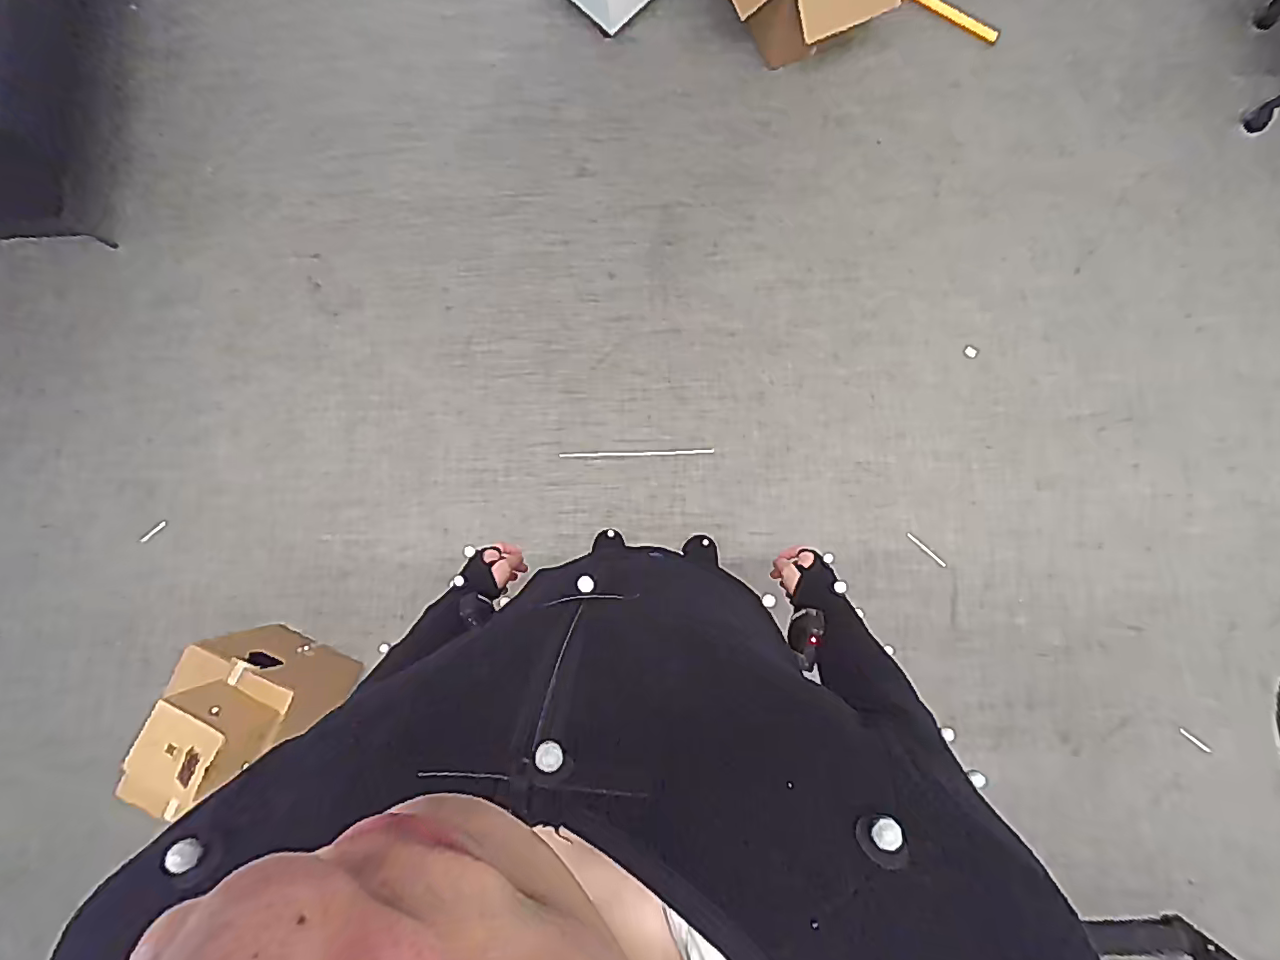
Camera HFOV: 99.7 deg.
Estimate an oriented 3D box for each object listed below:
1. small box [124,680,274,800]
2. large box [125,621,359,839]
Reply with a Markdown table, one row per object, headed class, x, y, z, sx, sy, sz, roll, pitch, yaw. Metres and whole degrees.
| class | x | y | z | sx | sy | sz | roll | pitch | yaw |
| --- | --- | --- | --- | --- | --- | --- | --- | --- | --- |
| small box | -1.006 | 0.589 | 1.252 | 0.179 | 0.176 | 0.168 | 26 | 85 | 3 |
| large box | -1.066 | 0.656 | 1.495 | 0.320 | 0.320 | 0.408 | 22 | 86 | 5 |
